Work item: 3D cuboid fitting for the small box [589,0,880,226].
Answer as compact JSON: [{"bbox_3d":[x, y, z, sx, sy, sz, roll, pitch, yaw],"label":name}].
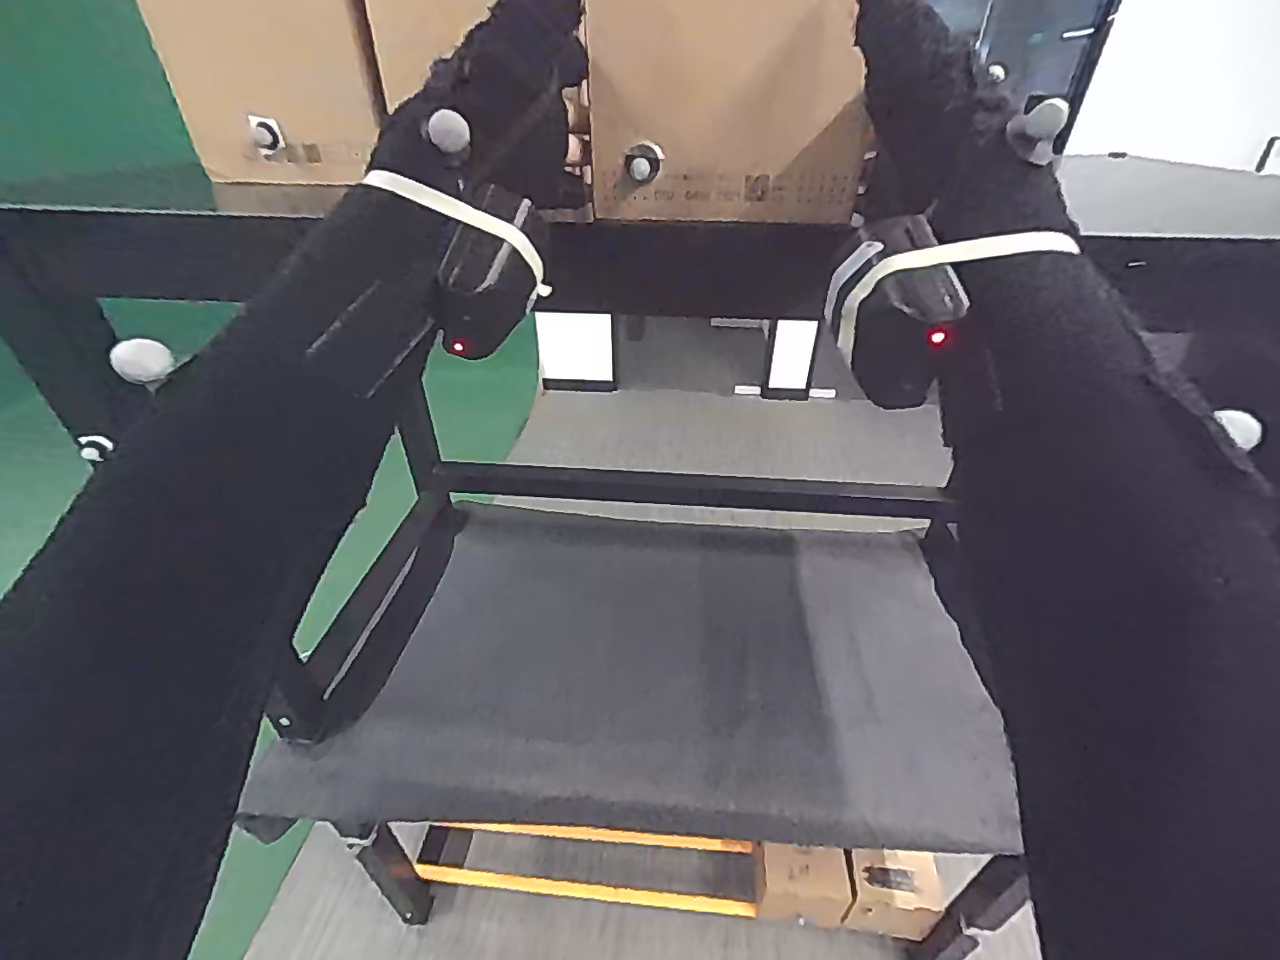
[{"bbox_3d":[0.062,-0.282,0.381,0.168,0.176,0.179,5,33,6],"label":"small box"}]
